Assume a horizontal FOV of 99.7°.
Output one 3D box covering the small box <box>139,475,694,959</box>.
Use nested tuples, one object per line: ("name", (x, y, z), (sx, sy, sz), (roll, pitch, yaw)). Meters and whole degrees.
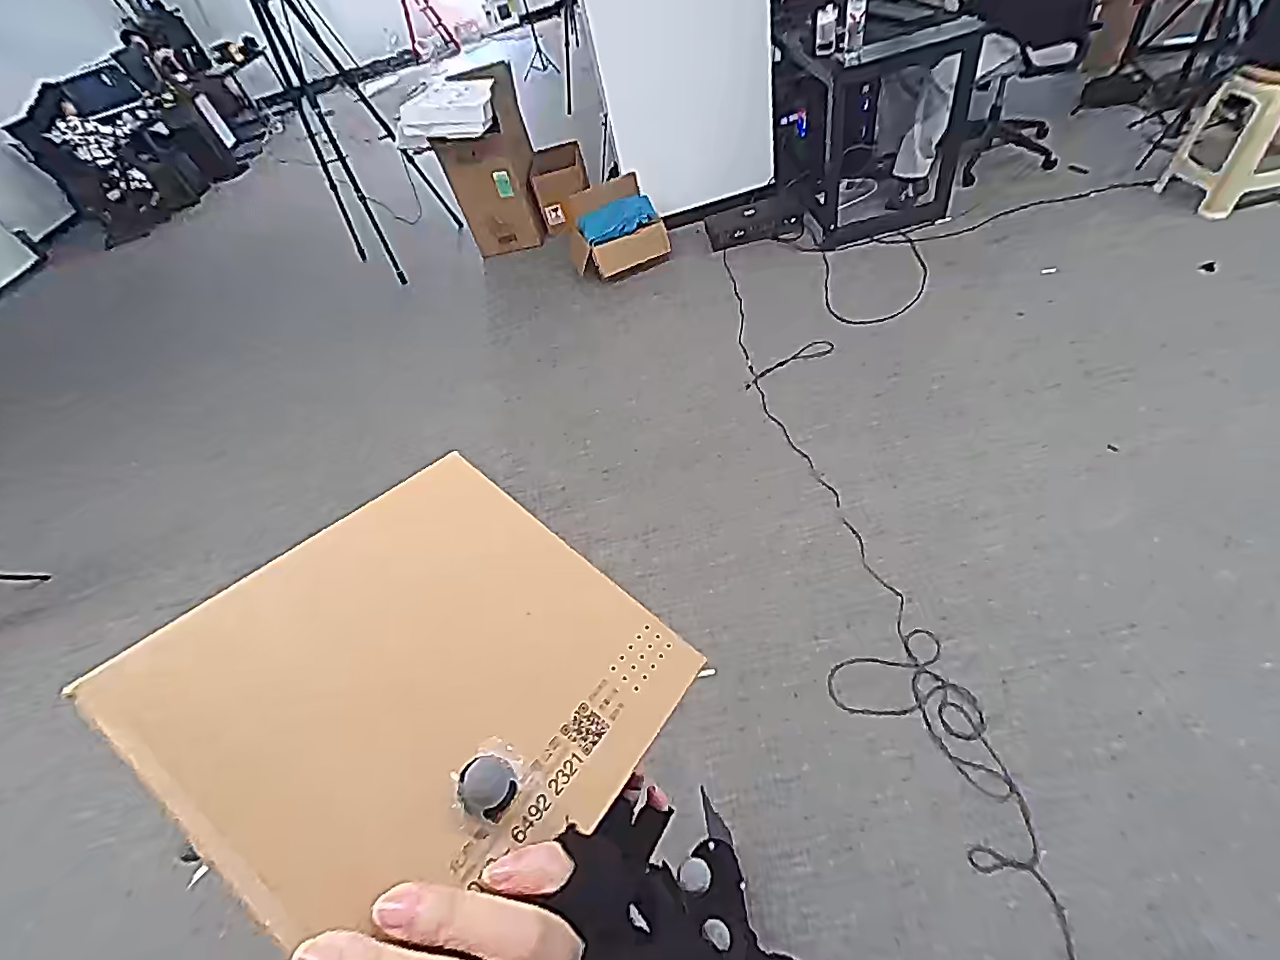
("small box", (-0.099, 0.138, 0.294), (0.176, 0.179, 0.168), (37, 49, 13))
